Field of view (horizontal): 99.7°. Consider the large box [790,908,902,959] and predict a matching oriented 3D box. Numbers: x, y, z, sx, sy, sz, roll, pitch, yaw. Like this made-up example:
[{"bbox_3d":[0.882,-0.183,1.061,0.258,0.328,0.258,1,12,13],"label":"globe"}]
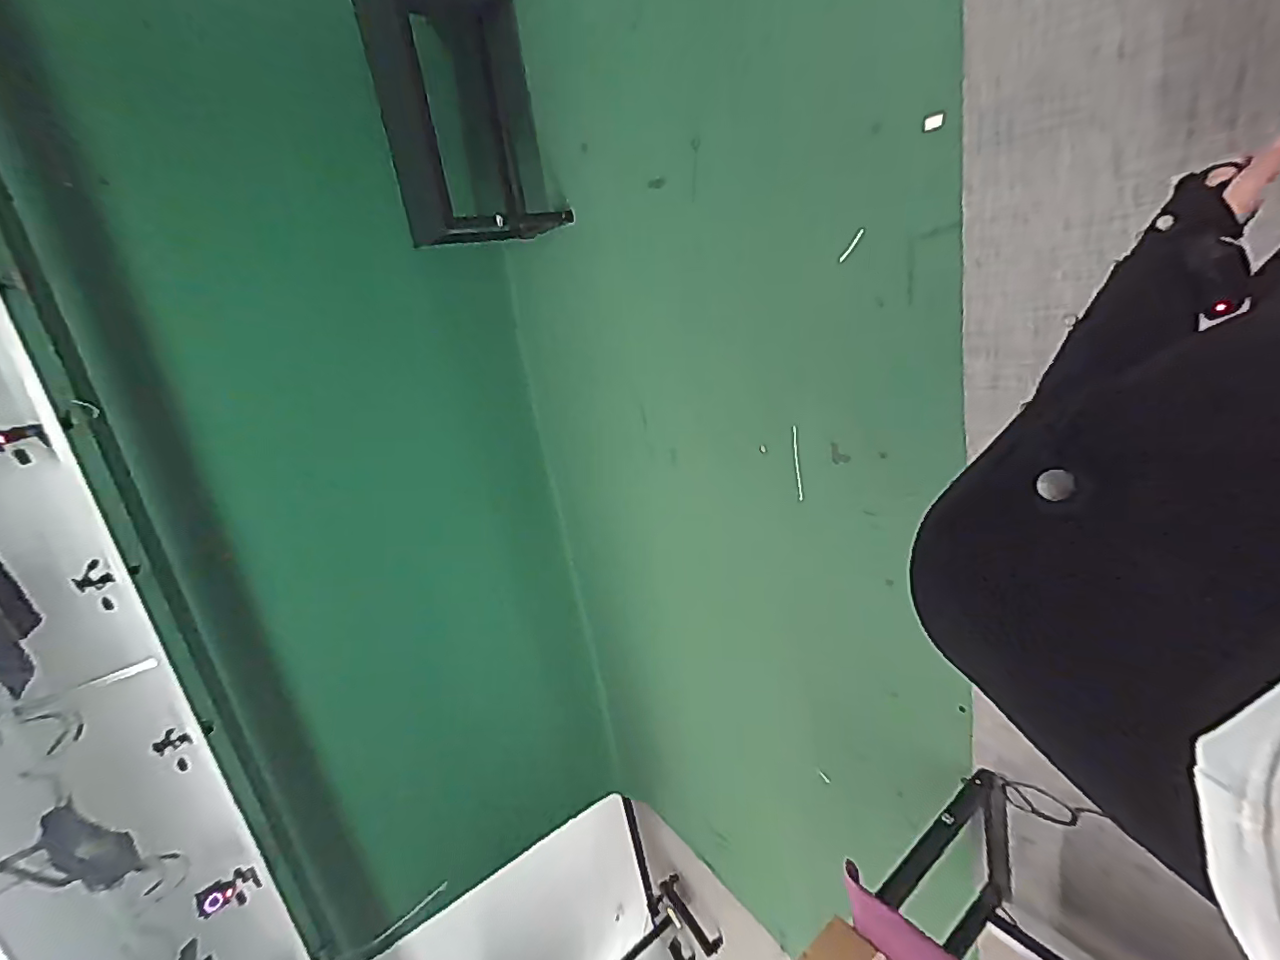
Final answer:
[{"bbox_3d":[0.596,1.533,1.484,0.320,0.320,0.408,12,117,53],"label":"large box"}]
